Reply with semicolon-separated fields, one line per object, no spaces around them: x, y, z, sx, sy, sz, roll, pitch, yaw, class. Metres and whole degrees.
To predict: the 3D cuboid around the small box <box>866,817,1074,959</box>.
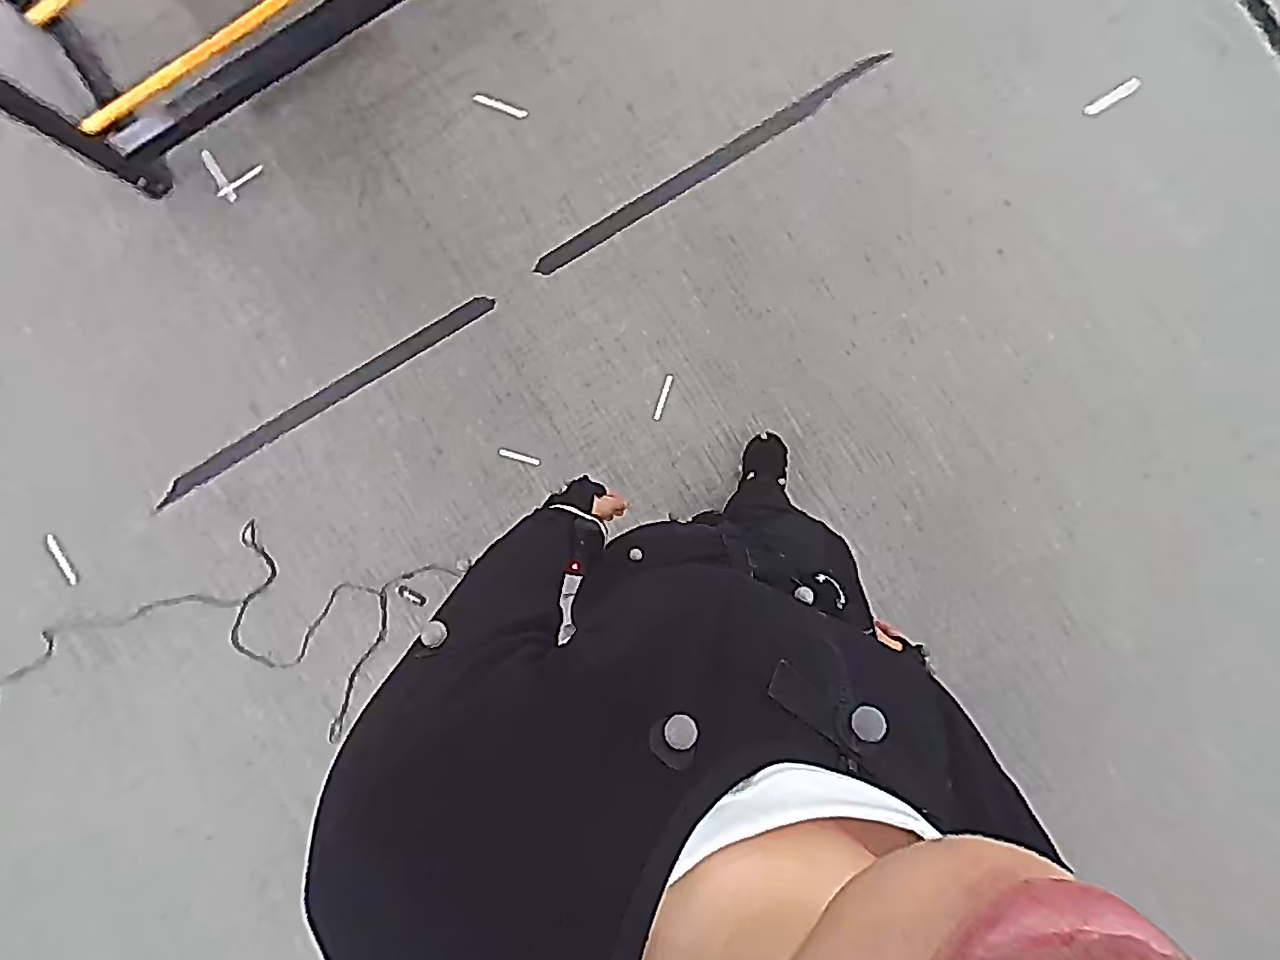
0.472;0.649;0.795;0.179;0.176;0.168;-39;86;0;small box
